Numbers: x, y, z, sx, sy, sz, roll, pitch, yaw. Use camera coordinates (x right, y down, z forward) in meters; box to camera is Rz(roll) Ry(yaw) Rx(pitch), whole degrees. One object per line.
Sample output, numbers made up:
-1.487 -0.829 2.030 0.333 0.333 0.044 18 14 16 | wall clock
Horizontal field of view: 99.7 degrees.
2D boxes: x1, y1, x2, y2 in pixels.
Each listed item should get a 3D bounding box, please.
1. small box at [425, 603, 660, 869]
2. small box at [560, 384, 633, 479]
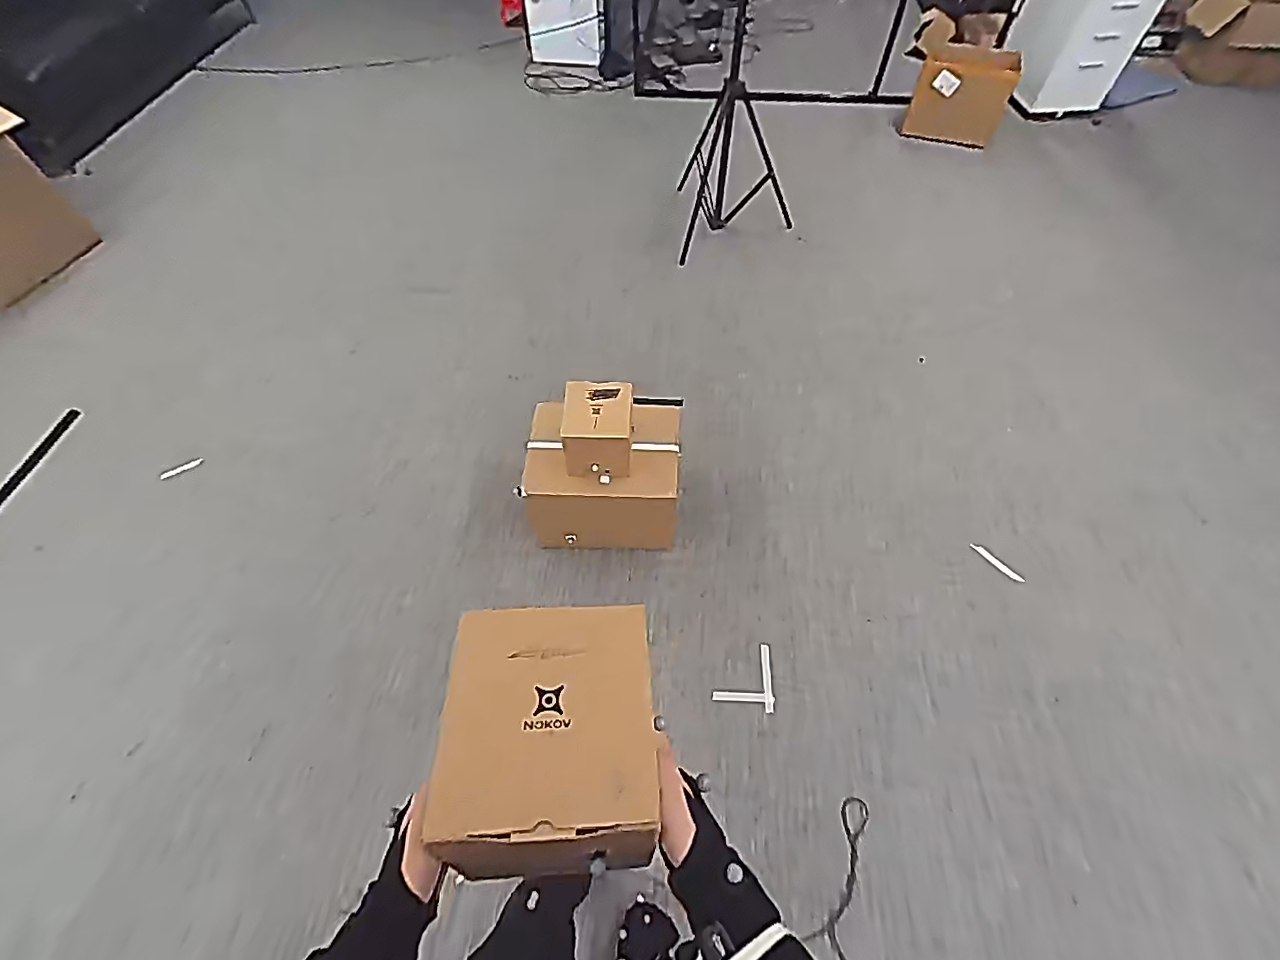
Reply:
-0.074 0.232 0.486 0.168 0.176 0.179 -1 46 -5 | small box
-0.104 -0.122 1.378 0.168 0.176 0.179 1 58 1 | small box
